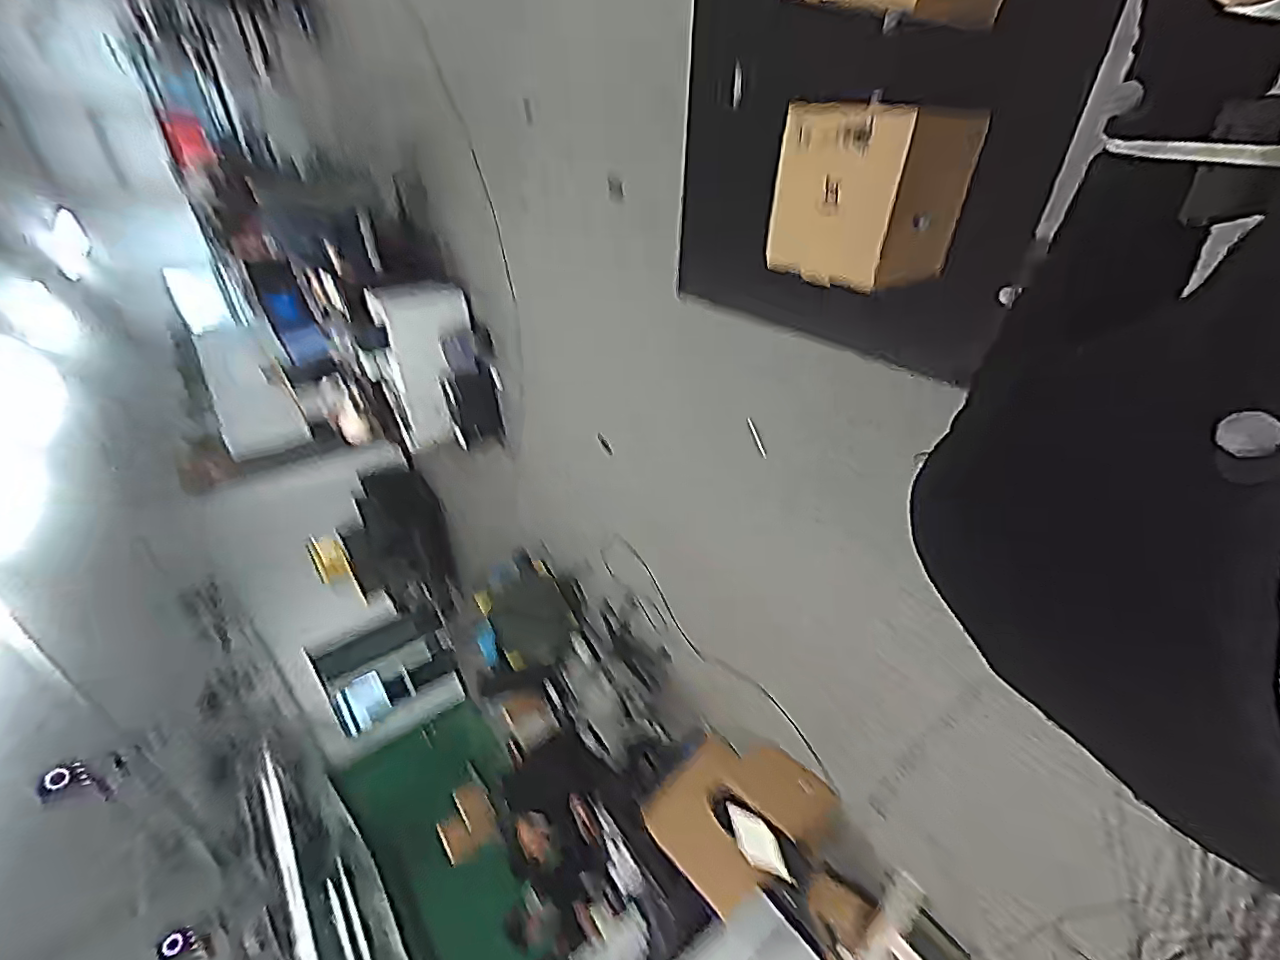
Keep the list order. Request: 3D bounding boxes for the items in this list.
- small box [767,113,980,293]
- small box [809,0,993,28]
[{"bbox_3d":[0.289,-0.356,0.683,0.168,0.176,0.179,36,137,40],"label":"small box"},{"bbox_3d":[0.283,-0.582,0.550,0.179,0.176,0.168,45,141,33],"label":"small box"}]
